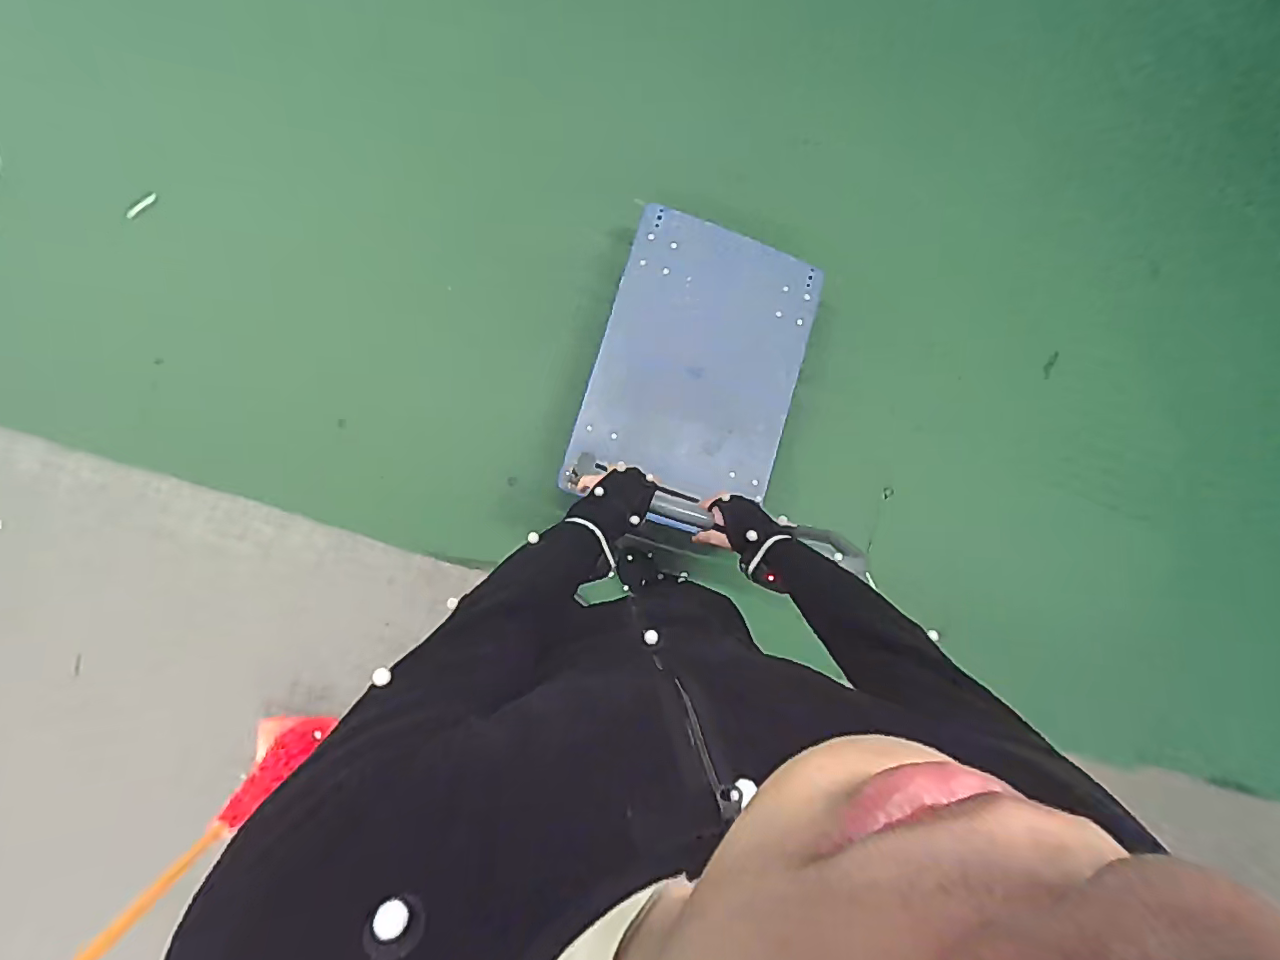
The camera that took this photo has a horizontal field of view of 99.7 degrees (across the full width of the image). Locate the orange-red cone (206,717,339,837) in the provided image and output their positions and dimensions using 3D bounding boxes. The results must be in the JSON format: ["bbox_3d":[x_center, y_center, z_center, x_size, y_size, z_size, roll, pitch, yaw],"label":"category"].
[{"bbox_3d":[-0.893,0.723,1.273,0.199,0.360,0.198,4,85,-8],"label":"orange-red cone"}]
